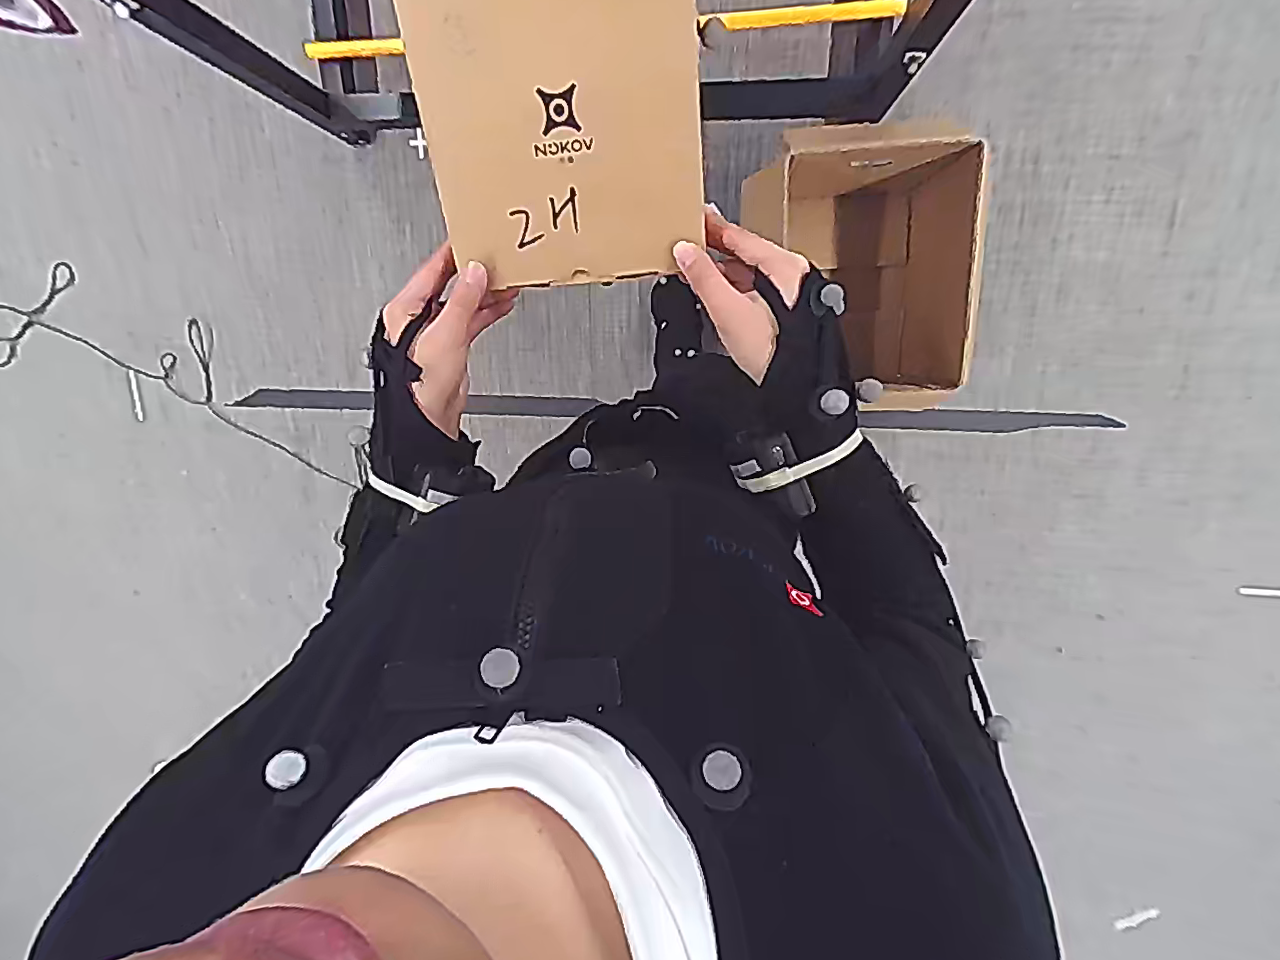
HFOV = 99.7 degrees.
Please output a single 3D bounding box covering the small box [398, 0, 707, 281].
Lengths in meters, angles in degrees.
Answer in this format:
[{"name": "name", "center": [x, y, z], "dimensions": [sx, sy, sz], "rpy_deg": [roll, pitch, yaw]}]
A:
[{"name": "small box", "center": [-0.040, -0.247, 0.384], "dimensions": [0.168, 0.176, 0.179], "rpy_deg": [-2, 116, 8]}]
